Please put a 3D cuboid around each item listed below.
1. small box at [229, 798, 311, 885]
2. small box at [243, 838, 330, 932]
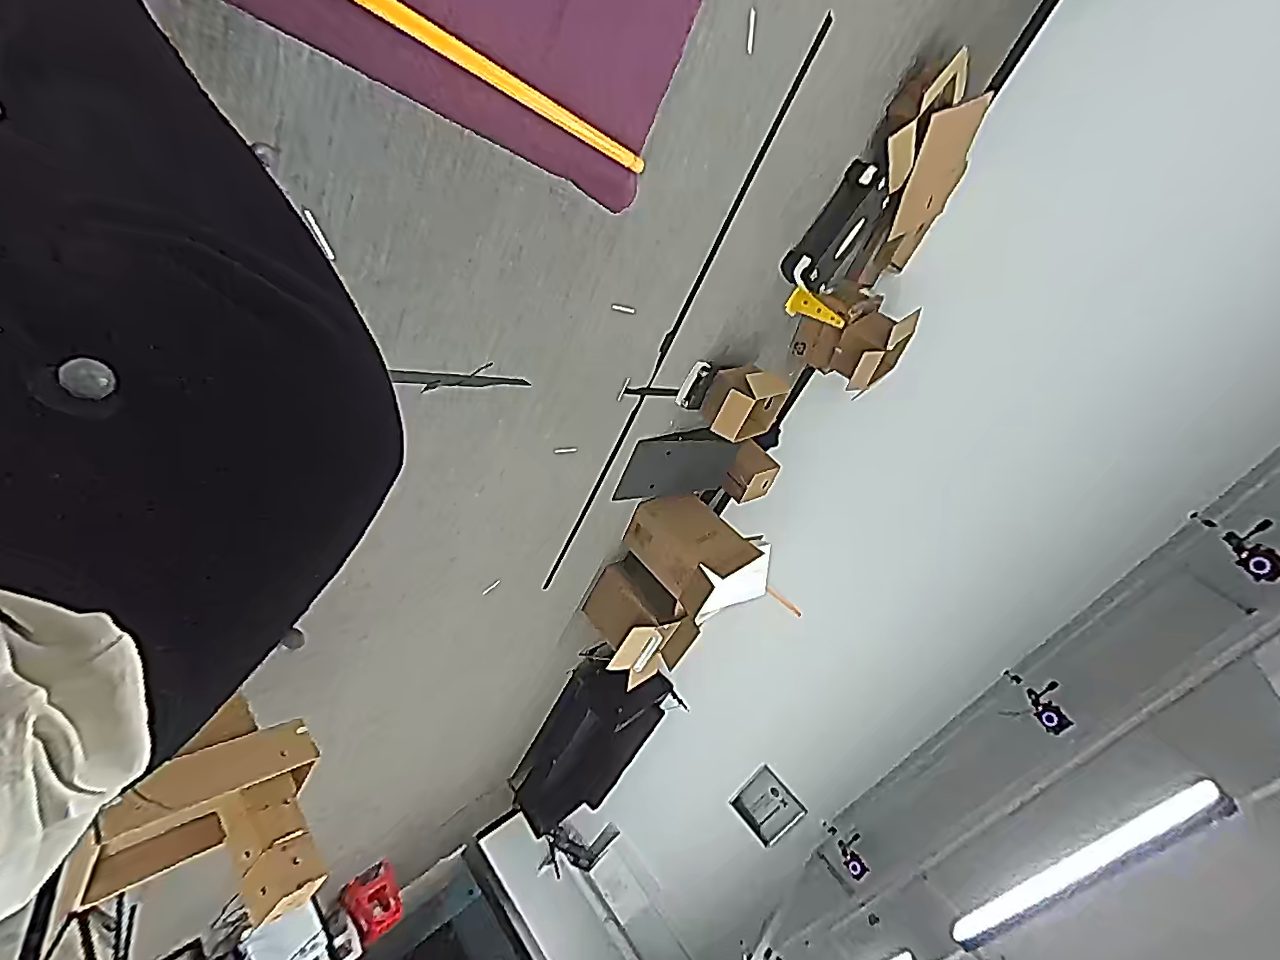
[{"bbox_3d":[-1.322,1.271,1.924,0.179,0.176,0.168,-52,154,13],"label":"small box"},{"bbox_3d":[-1.214,1.369,1.849,0.179,0.176,0.168,-51,154,9],"label":"small box"}]
